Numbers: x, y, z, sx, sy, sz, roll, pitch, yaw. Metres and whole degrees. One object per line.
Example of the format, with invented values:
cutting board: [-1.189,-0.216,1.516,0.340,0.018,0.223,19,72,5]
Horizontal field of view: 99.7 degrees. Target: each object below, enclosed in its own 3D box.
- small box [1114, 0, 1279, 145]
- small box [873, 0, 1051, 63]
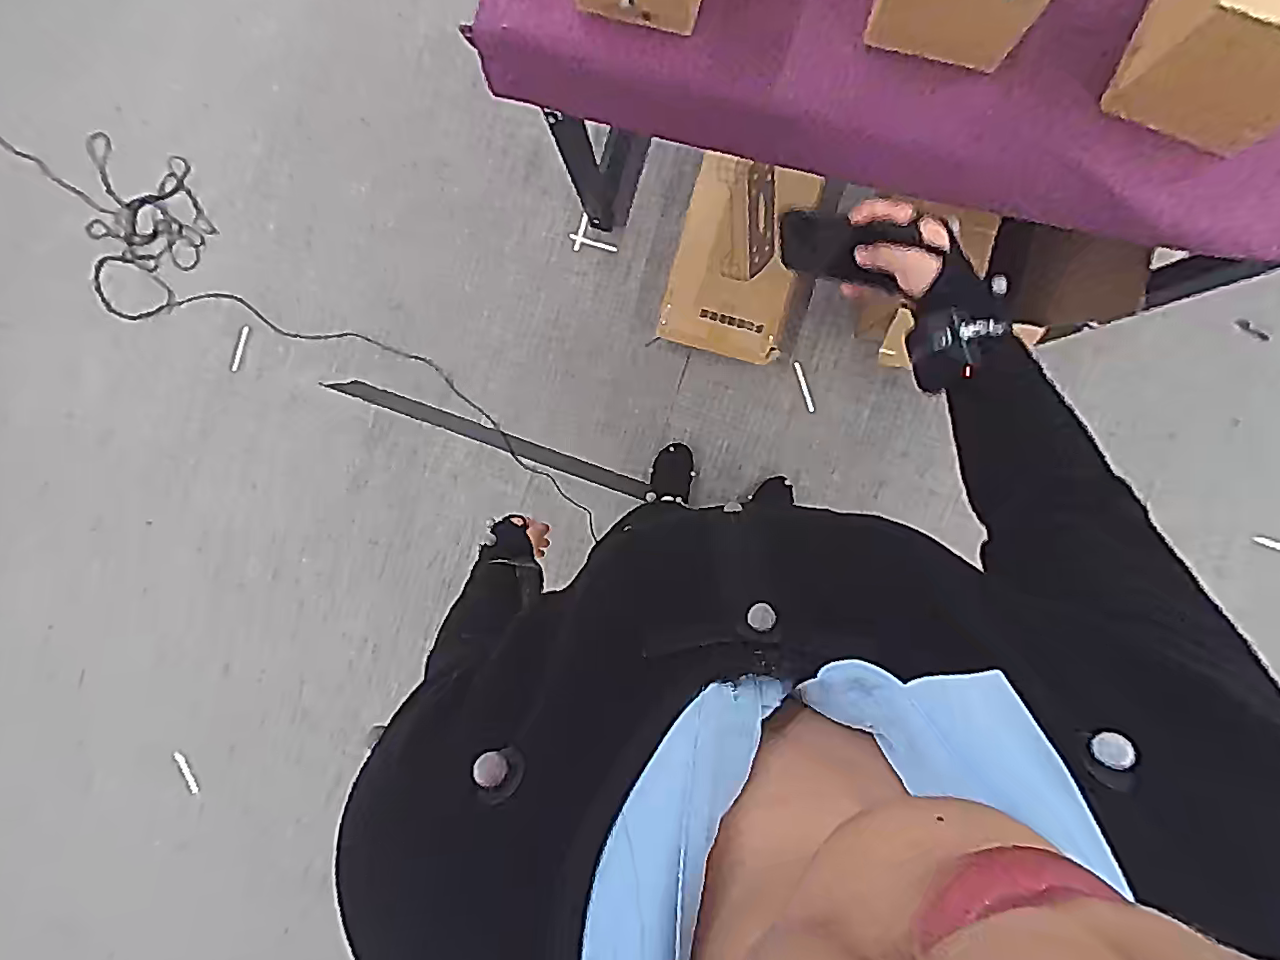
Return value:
small box: [0.697,-0.515,0.600,0.179,0.176,0.168,24,95,3]
small box: [0.401,-0.629,0.619,0.179,0.176,0.168,17,92,4]
